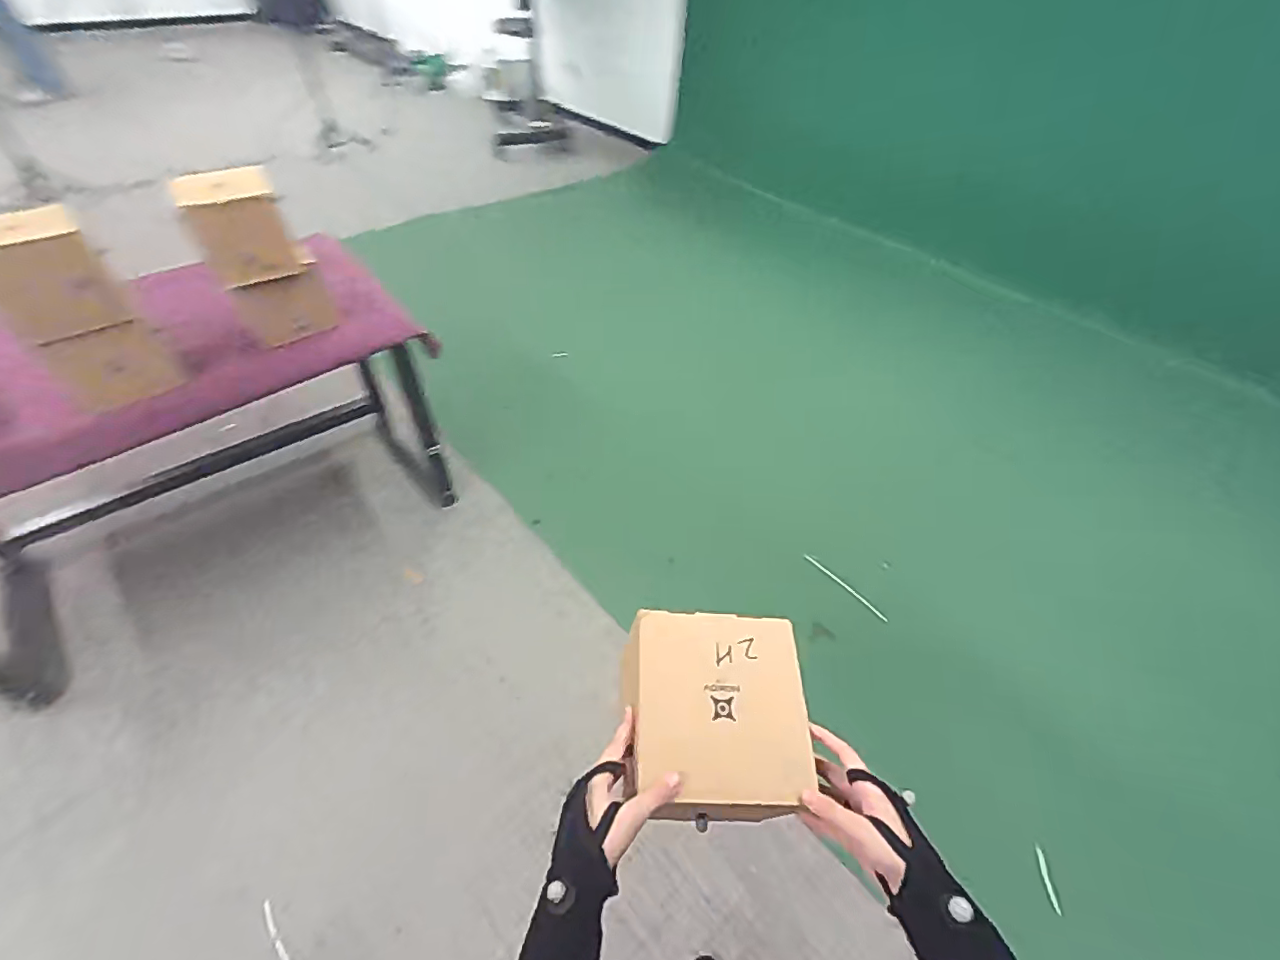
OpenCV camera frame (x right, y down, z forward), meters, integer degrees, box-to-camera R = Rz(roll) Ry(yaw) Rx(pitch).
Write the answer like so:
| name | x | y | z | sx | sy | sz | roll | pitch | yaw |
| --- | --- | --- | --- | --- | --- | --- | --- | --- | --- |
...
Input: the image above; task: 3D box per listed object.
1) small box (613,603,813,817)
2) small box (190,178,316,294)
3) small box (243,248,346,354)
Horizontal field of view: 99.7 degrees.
| name | x | y | z | sx | sy | sz | roll | pitch | yaw |
| --- | --- | --- | --- | --- | --- | --- | --- | --- | --- |
| small box | 0.062 | 0.250 | 0.576 | 0.168 | 0.176 | 0.179 | 5 | 52 | -7 |
| small box | -0.837 | -0.531 | 1.178 | 0.168 | 0.176 | 0.179 | -24 | 53 | -23 |
| small box | -0.844 | -0.436 | 1.312 | 0.179 | 0.176 | 0.168 | -31 | 54 | -28 |
